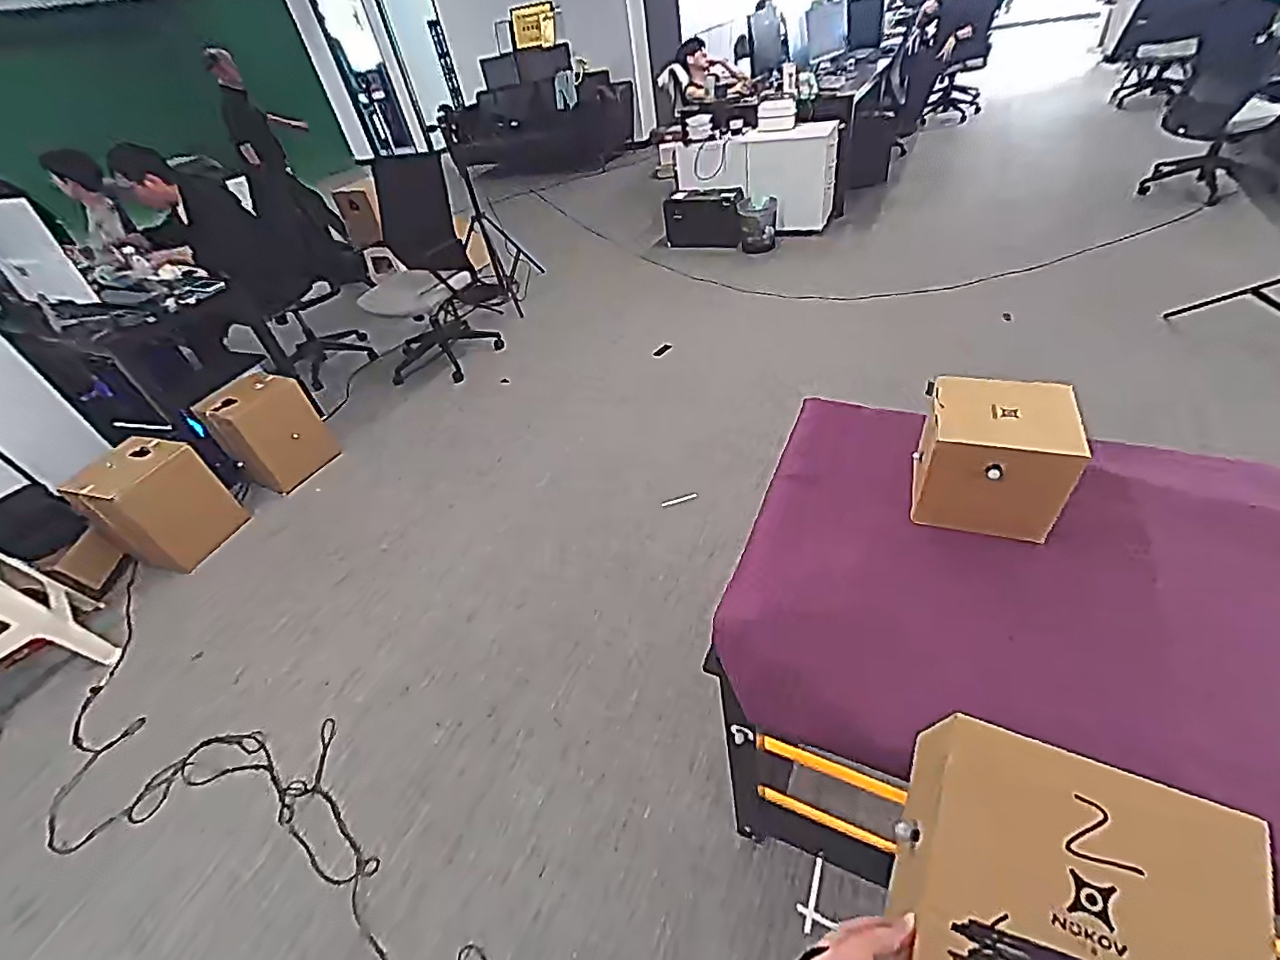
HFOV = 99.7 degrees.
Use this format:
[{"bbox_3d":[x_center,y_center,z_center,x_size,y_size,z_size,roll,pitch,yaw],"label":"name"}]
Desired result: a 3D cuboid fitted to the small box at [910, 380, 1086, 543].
[{"bbox_3d":[0.520,-0.027,0.811,0.179,0.176,0.168,9,45,22],"label":"small box"}]
